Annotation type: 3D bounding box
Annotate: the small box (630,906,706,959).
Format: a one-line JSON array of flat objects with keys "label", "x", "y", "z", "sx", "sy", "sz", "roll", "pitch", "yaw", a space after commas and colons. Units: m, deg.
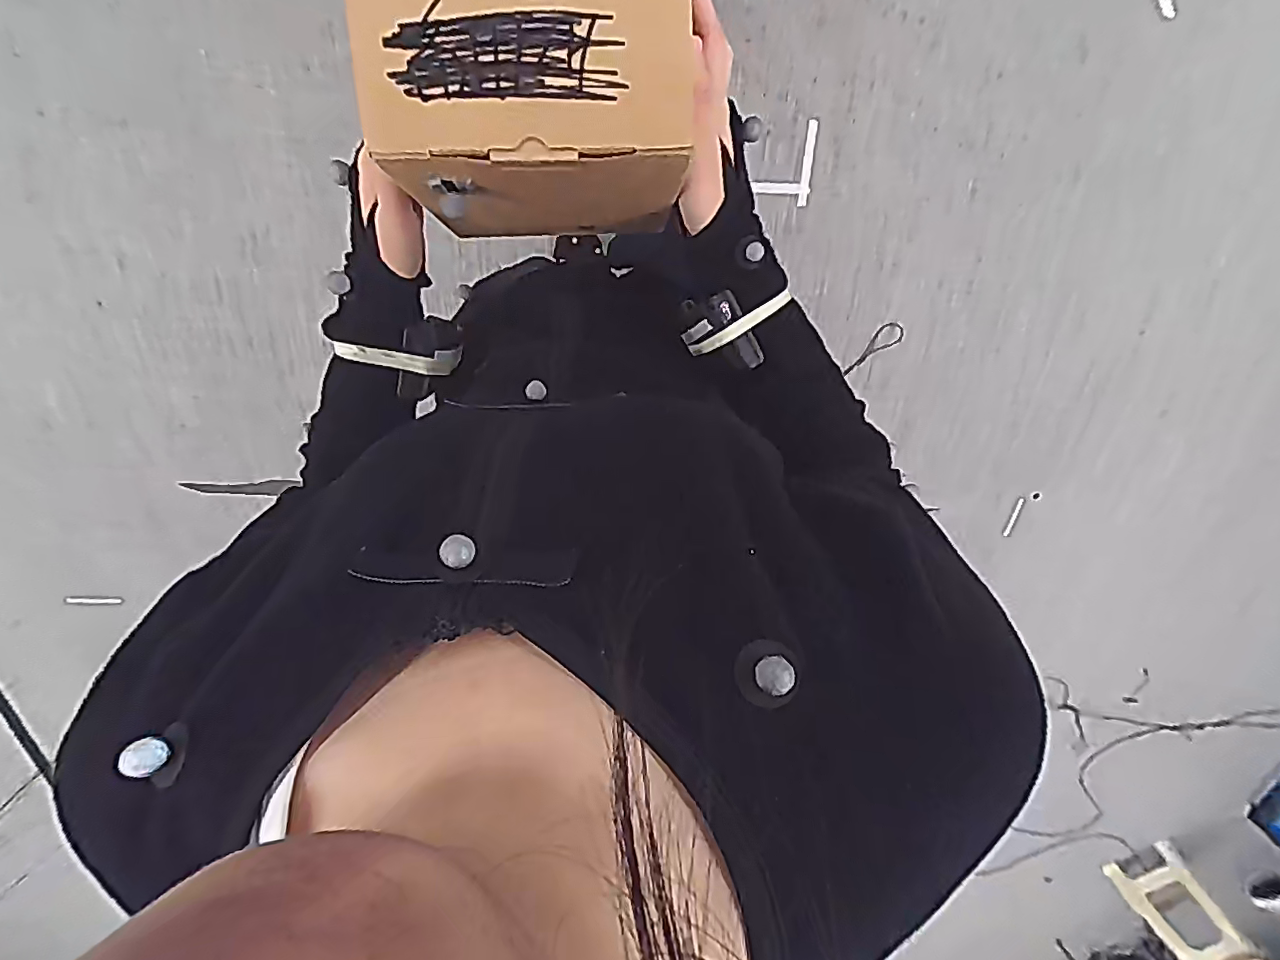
[{"label": "small box", "x": 0.065, "y": 1.142, "z": 1.269, "sx": 0.168, "sy": 0.176, "sz": 0.179, "roll": -1, "pitch": 117, "yaw": -5}]
